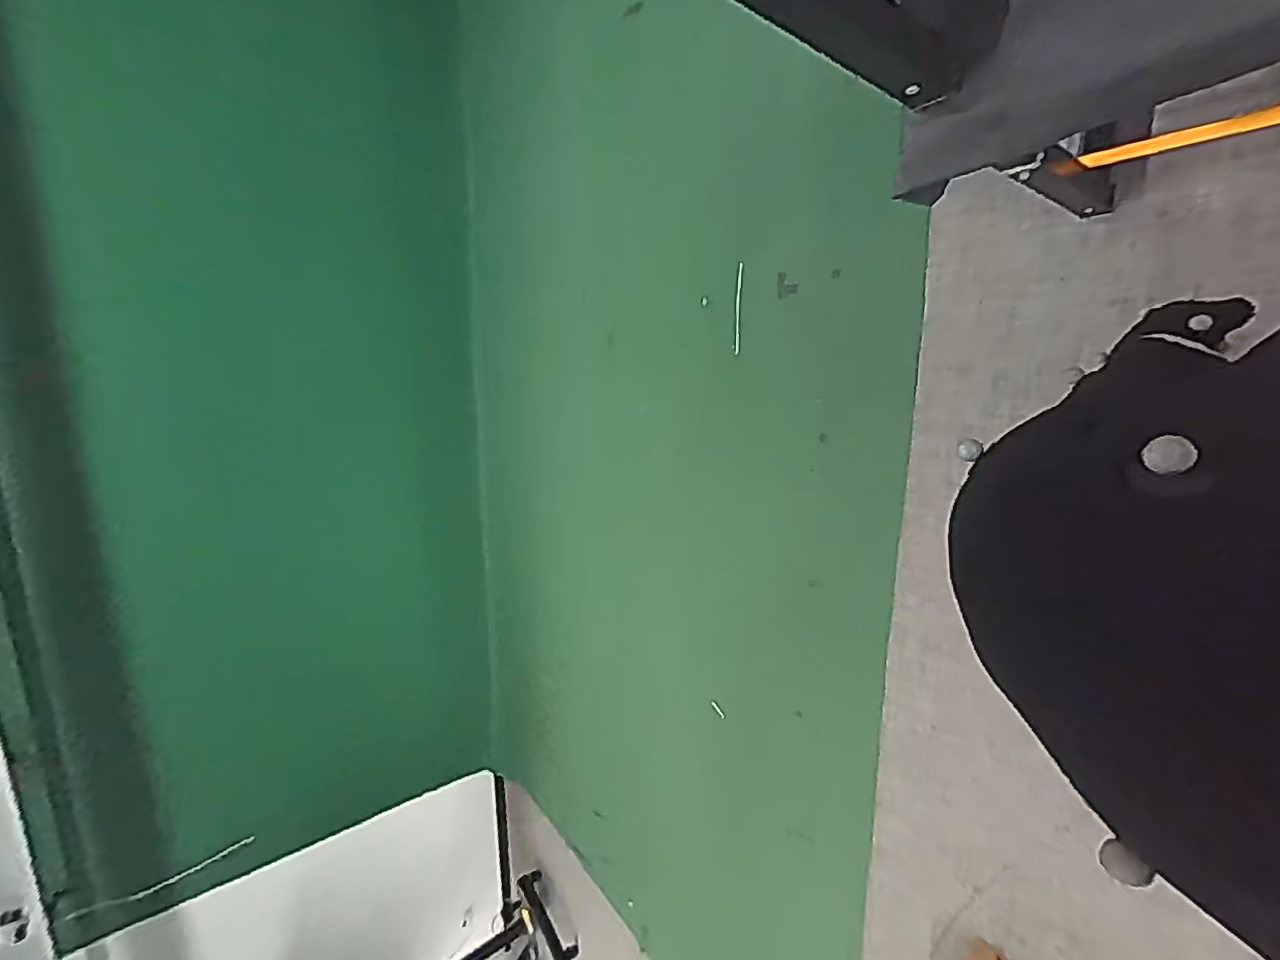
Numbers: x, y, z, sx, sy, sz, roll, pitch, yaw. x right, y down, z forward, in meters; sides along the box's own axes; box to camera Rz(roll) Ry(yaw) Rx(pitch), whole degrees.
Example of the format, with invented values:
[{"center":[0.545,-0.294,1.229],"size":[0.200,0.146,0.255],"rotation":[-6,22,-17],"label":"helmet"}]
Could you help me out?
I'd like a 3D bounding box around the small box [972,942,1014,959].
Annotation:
[{"center":[0.946,1.382,1.409],"size":[0.168,0.176,0.179],"rotation":[14,106,52],"label":"small box"}]
